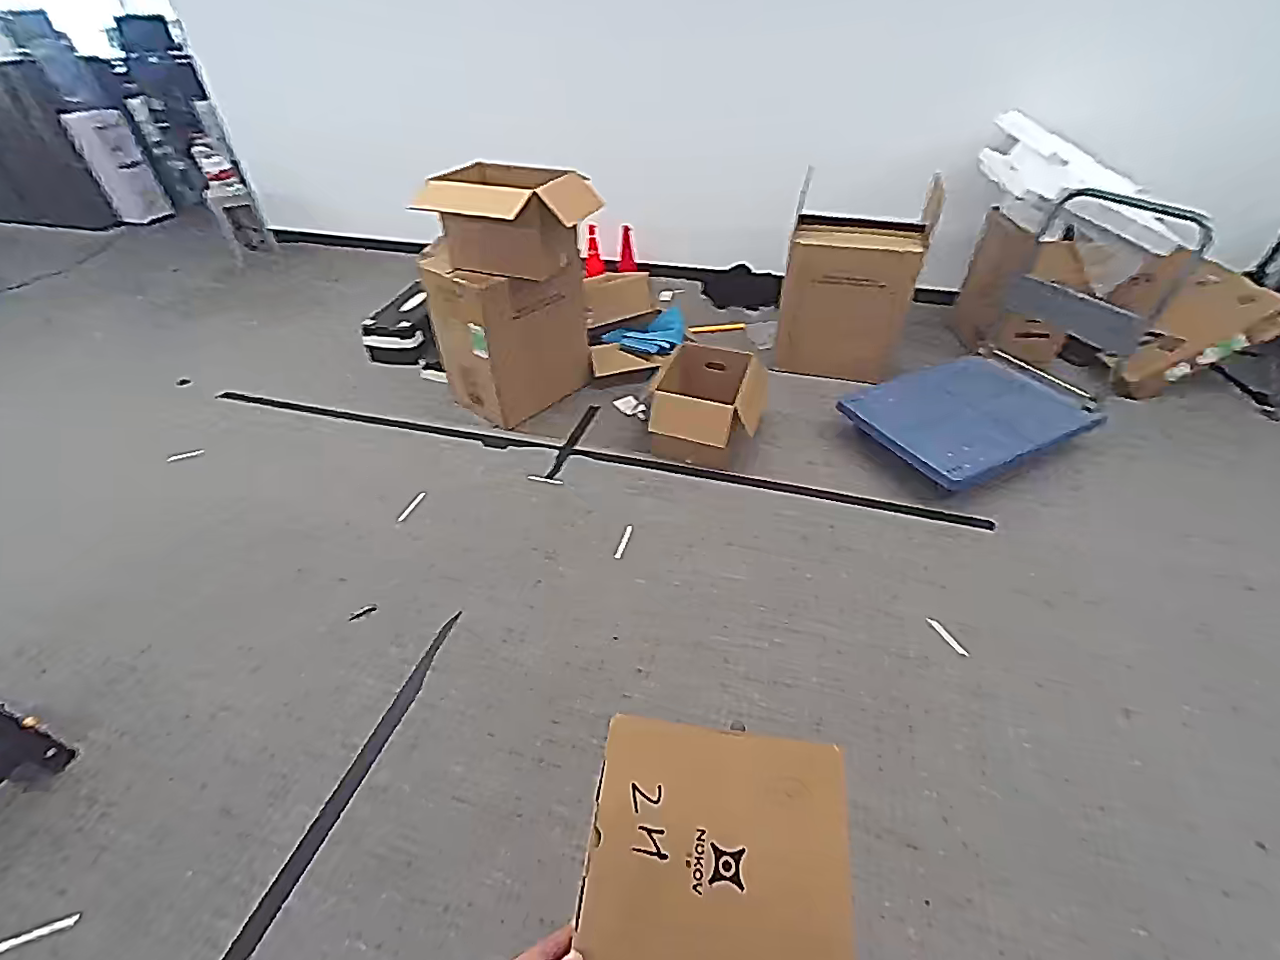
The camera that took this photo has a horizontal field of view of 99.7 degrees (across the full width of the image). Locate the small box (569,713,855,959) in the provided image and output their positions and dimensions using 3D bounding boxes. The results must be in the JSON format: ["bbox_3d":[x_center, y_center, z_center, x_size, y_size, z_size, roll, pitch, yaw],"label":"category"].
[{"bbox_3d":[0.061,0.300,0.428,0.179,0.176,0.168,3,55,12],"label":"small box"}]
